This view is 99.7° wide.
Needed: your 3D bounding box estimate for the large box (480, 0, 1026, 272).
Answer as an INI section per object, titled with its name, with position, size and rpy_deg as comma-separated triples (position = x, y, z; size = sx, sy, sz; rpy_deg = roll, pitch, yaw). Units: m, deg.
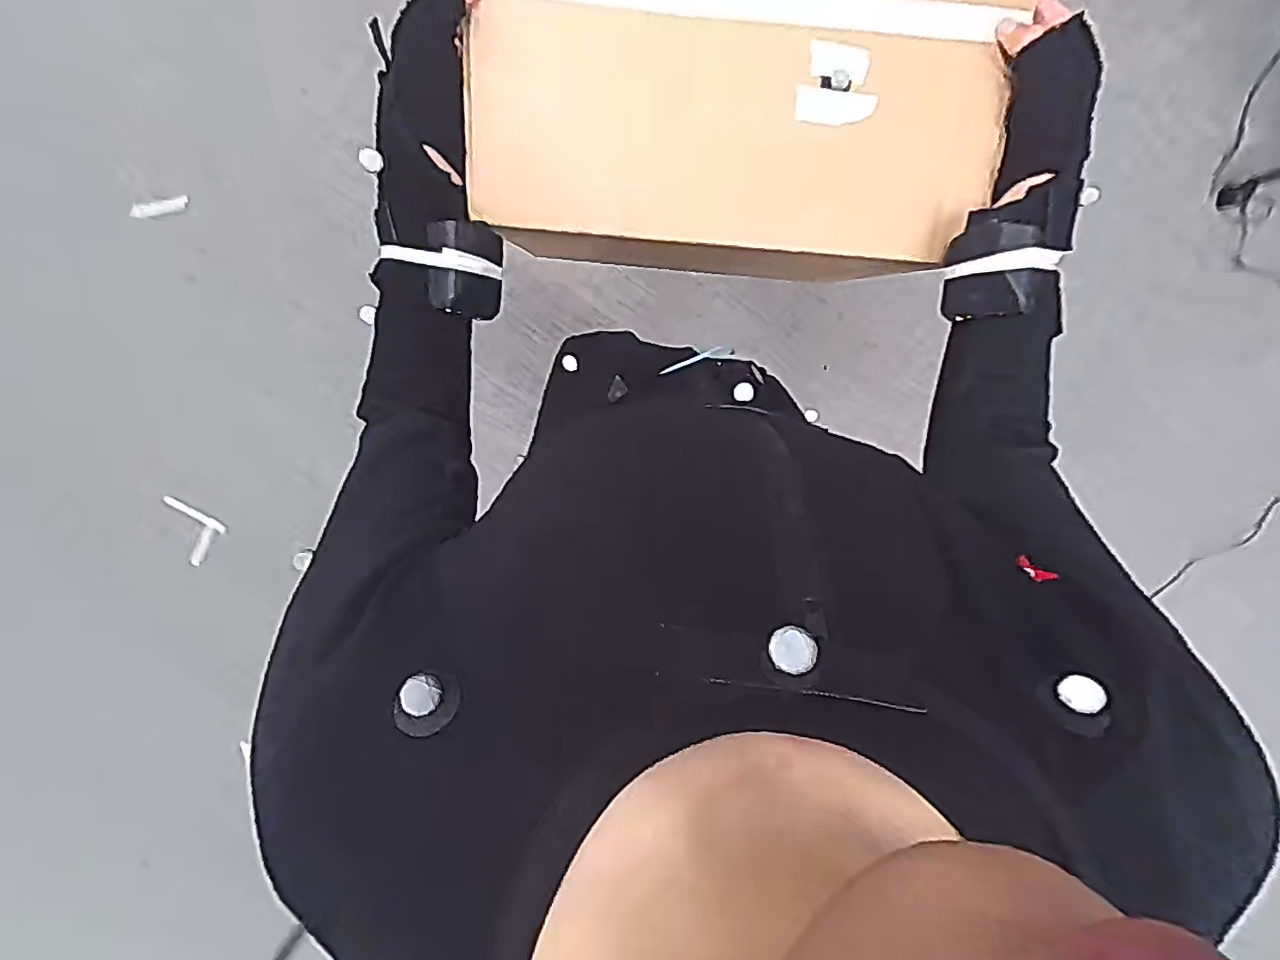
[large box]
position = 0.075, -0.390, 0.532
size = 0.408, 0.320, 0.320
rpy_deg = 4, 109, -4
